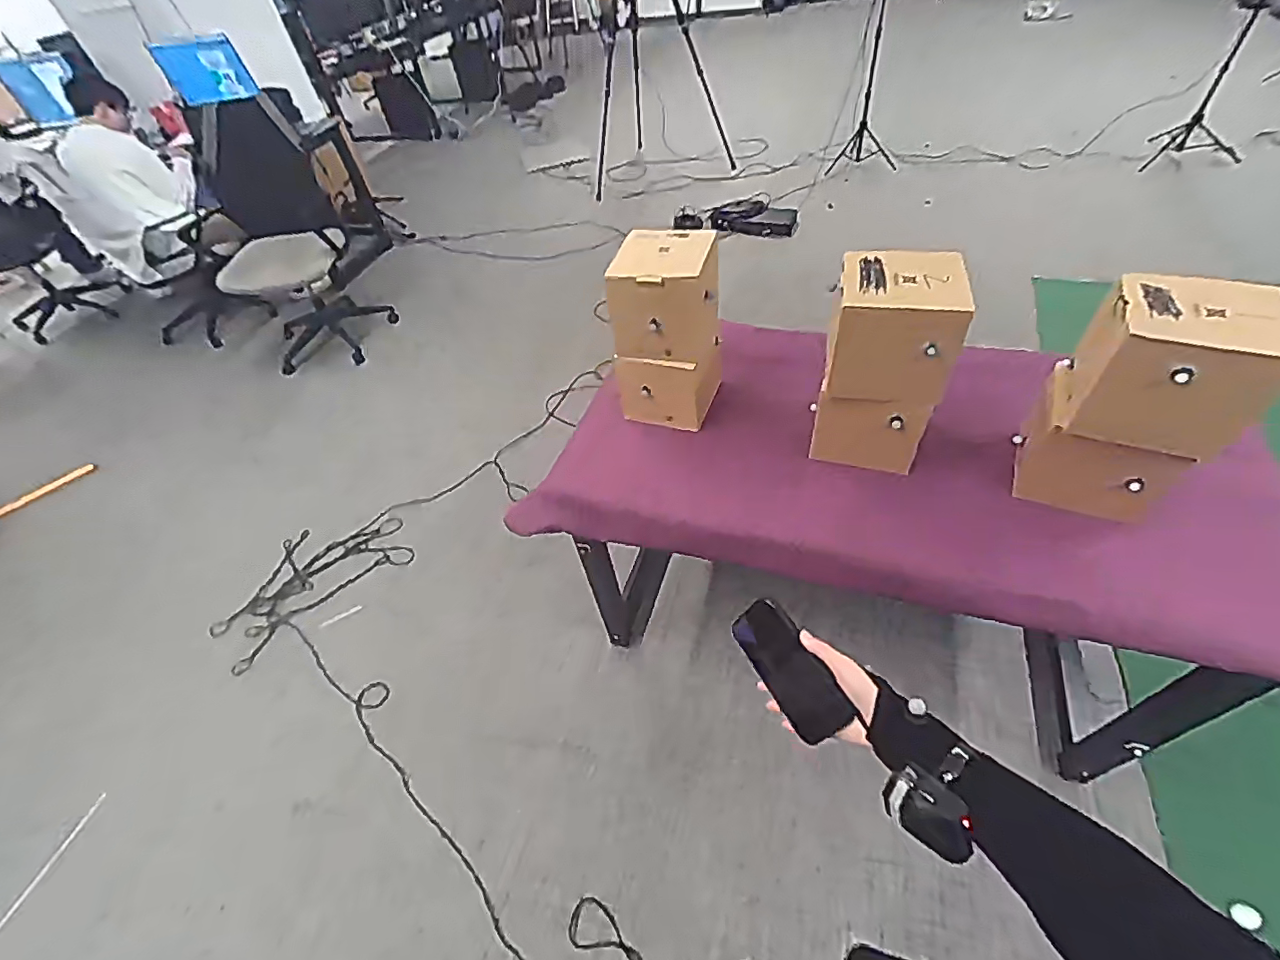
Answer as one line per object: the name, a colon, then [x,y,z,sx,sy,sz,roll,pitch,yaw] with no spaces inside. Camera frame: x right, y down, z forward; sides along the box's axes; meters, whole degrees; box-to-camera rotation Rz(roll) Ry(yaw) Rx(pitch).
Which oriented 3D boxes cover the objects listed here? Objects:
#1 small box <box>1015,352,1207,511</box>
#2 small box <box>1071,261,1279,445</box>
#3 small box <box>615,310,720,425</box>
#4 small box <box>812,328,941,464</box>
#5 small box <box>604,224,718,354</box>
small box: [0.732,-0.074,0.858,0.179,0.176,0.168,16,53,23]
small box: [0.714,-0.169,0.725,0.179,0.176,0.168,17,53,22]
small box: [0.067,-0.237,1.116,0.168,0.176,0.179,12,52,19]
small box: [0.421,-0.149,0.976,0.179,0.176,0.168,11,52,19]
small box: [0.049,-0.351,0.999,0.168,0.176,0.179,8,51,16]
